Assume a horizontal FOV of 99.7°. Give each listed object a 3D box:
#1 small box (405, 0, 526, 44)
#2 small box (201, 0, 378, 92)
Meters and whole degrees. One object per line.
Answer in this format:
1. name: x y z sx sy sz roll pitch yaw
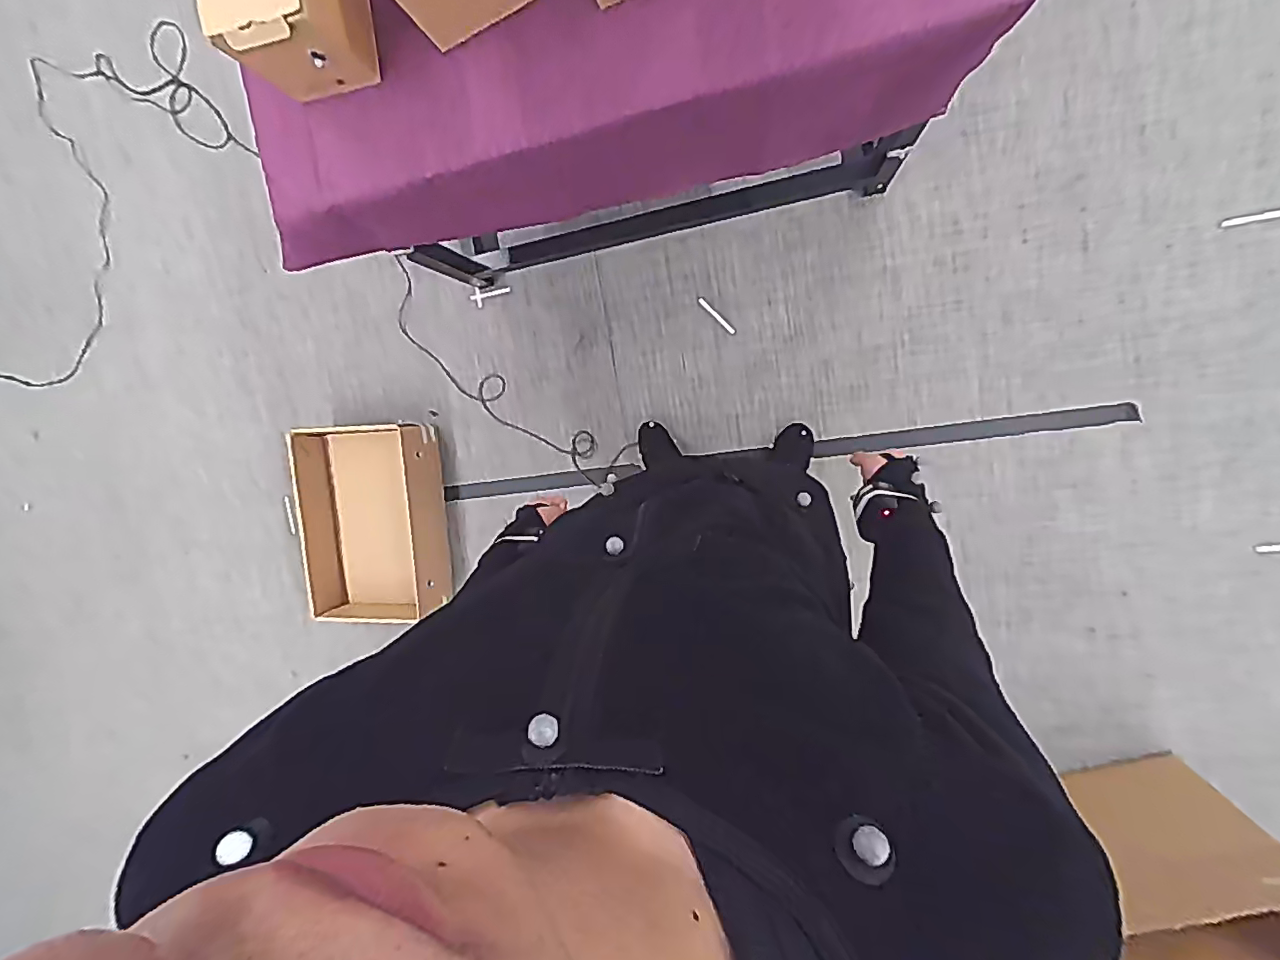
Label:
1. small box: -0.277 -0.776 0.761 0.179 0.176 0.168 -17 95 13
2. small box: -0.526 -0.727 0.820 0.168 0.176 0.179 -3 97 11
